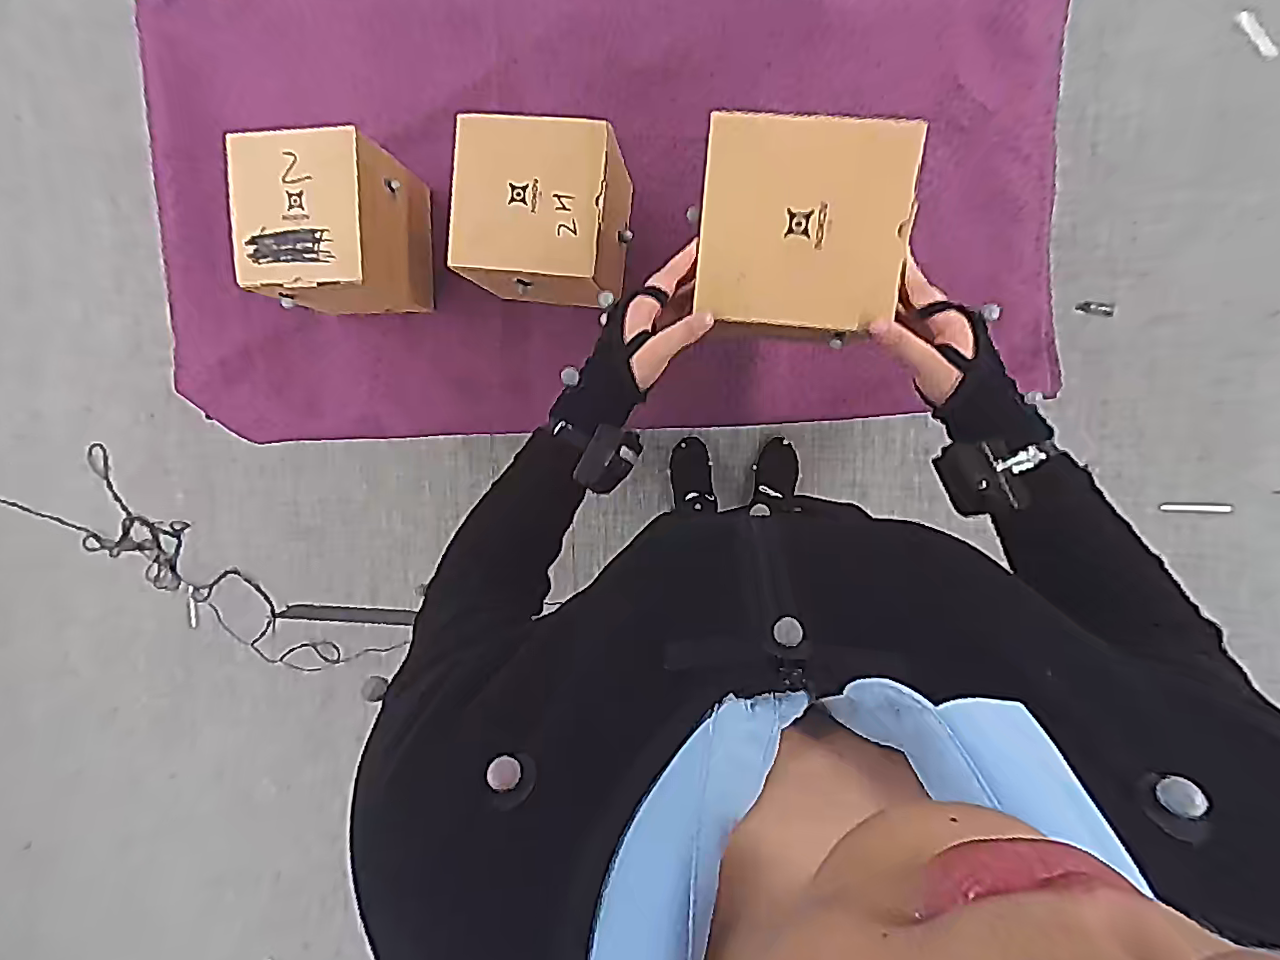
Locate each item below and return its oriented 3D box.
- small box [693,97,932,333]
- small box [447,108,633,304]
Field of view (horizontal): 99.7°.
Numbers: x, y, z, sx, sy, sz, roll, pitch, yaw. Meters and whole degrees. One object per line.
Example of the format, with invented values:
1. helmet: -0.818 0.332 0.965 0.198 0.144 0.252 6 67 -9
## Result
1. small box: 0.147 -0.239 0.528 0.179 0.176 0.168 6 101 4
2. small box: -0.113 -0.324 0.670 0.179 0.176 0.168 8 97 6
